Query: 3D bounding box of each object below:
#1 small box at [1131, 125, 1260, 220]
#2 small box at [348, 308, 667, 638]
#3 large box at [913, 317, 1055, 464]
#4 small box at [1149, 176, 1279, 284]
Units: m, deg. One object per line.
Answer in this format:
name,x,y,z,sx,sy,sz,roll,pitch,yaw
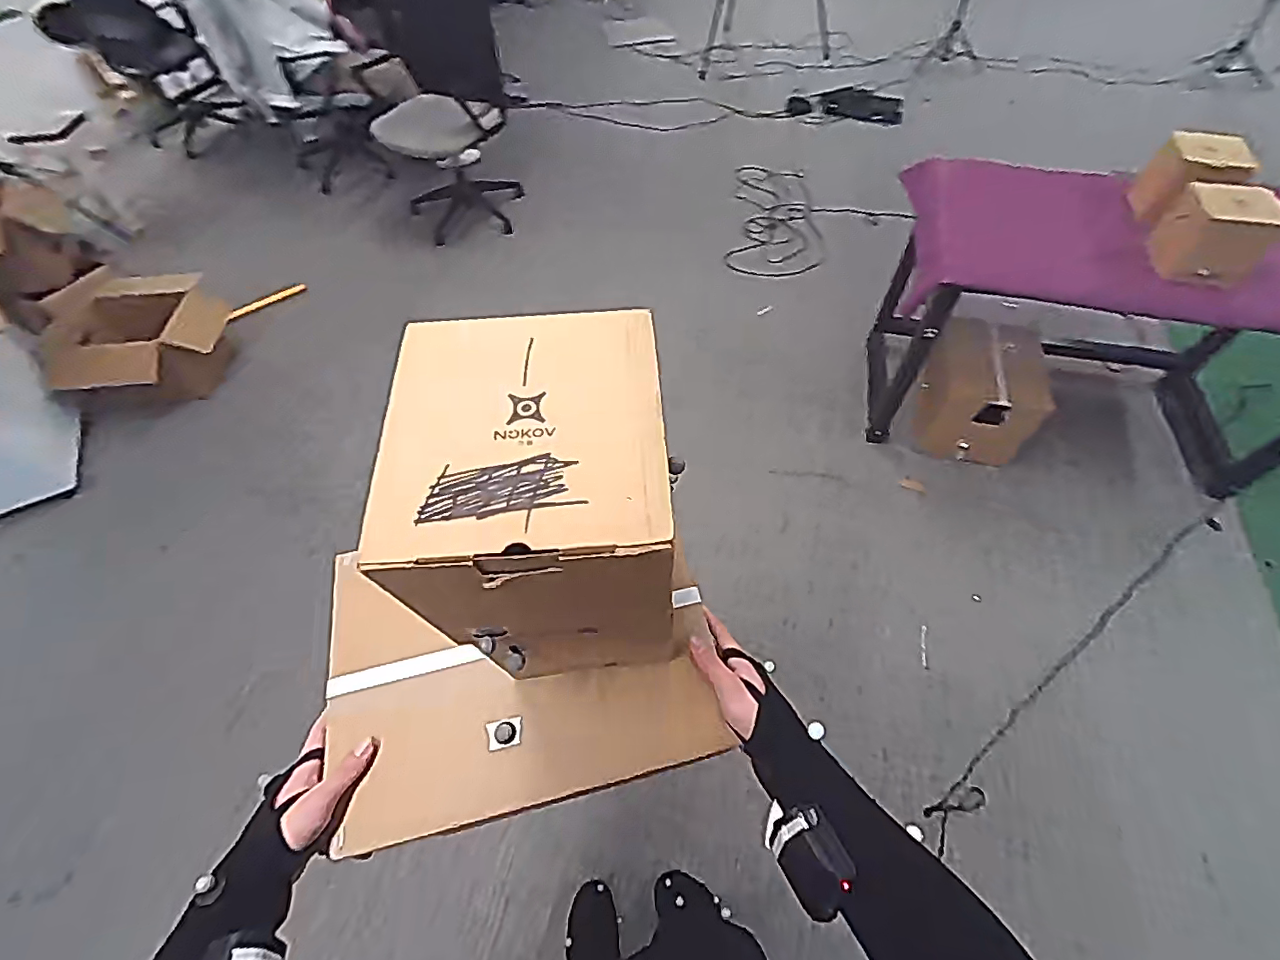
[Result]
small box,1.486,-0.823,1.464,0.168,0.176,0.179,13,58,11
small box,-0.067,0.007,0.380,0.168,0.176,0.179,-3,59,0
large box,1.195,-0.318,1.930,0.320,0.320,0.408,12,55,10
small box,1.400,-0.608,1.316,0.168,0.176,0.179,12,56,12
